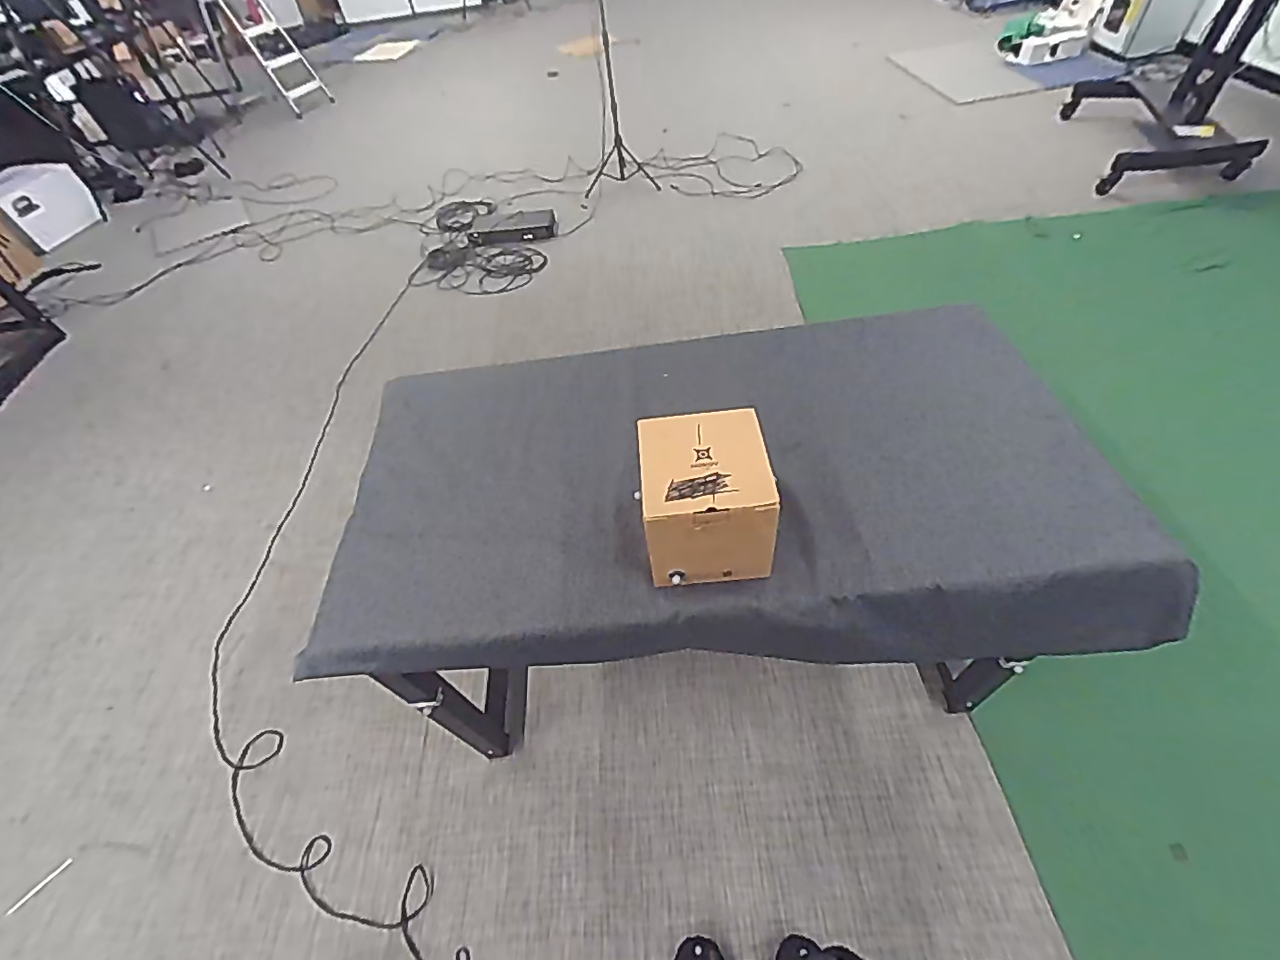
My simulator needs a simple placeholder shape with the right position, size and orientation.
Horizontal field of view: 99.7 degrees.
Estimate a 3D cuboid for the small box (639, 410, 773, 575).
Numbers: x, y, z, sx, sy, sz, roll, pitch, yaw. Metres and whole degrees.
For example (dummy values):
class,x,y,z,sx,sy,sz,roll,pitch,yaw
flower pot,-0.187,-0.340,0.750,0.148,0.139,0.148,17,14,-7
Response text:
class,x,y,z,sx,sy,sz,roll,pitch,yaw
small box,0.091,0.025,0.781,0.168,0.176,0.179,-5,49,3
